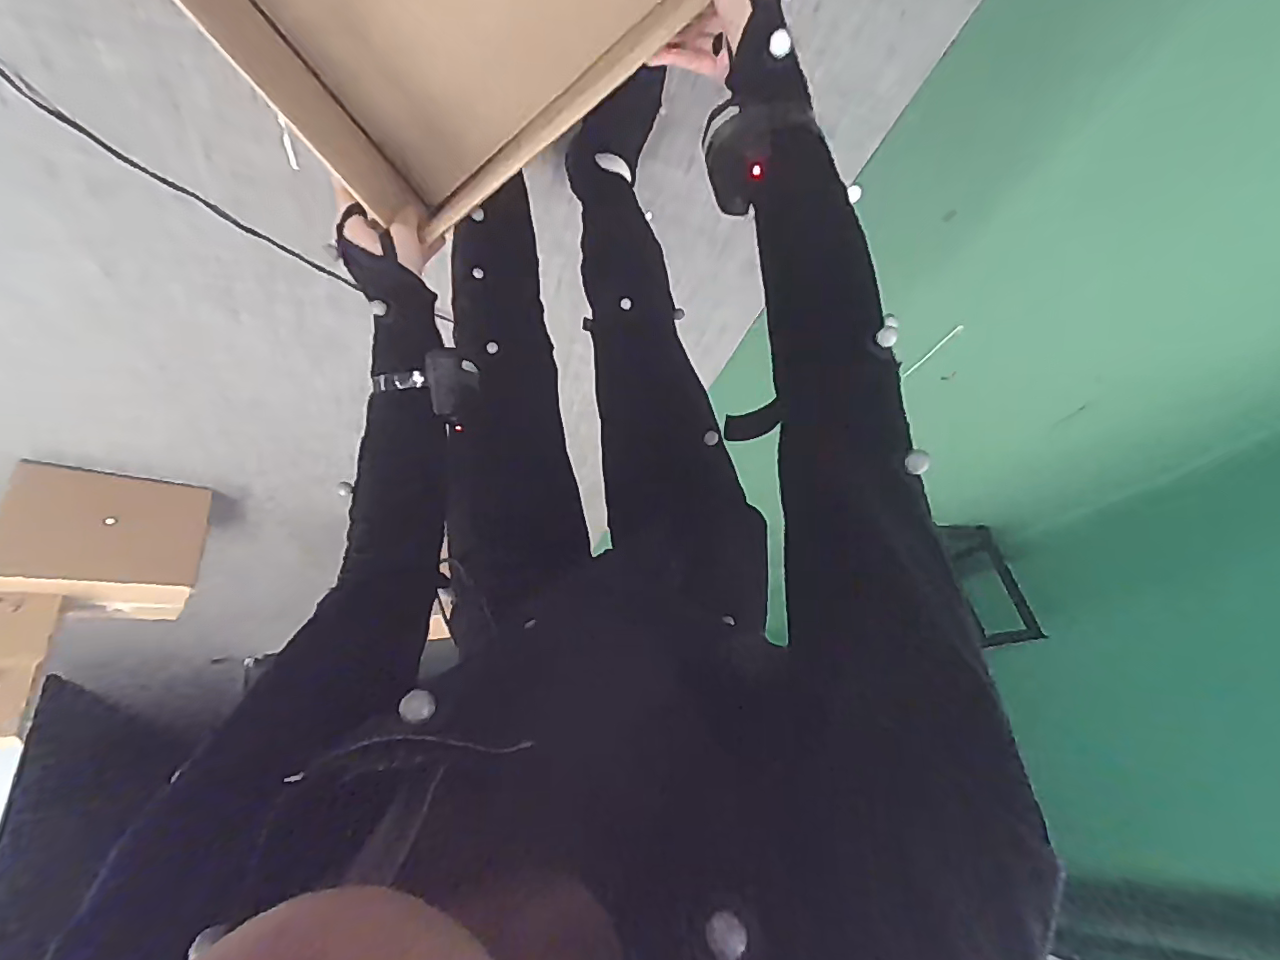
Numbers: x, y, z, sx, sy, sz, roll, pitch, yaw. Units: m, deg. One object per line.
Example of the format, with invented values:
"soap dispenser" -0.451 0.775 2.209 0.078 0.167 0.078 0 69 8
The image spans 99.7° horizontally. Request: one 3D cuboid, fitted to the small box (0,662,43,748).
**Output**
"small box" -1.534 0.525 1.255 0.168 0.176 0.179 13 144 -39
